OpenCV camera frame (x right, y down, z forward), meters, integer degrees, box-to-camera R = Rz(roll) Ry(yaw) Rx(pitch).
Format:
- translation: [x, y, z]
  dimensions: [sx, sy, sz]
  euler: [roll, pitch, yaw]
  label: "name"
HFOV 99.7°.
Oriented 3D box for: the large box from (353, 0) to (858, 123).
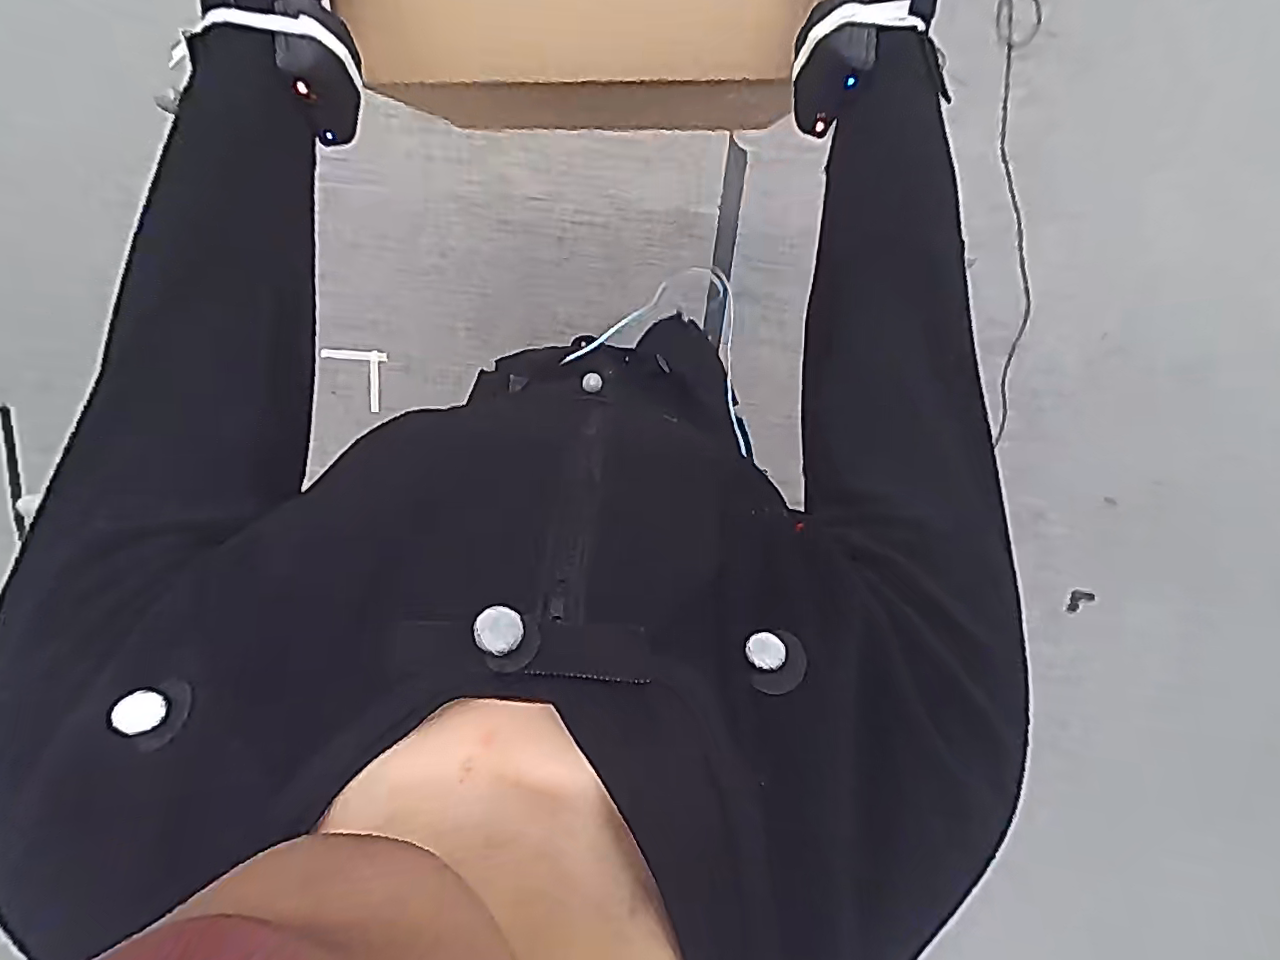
- translation: [-0.030, -0.540, 0.506]
  dimensions: [0.408, 0.320, 0.320]
  euler: [0, 118, -1]
  label: "large box"
